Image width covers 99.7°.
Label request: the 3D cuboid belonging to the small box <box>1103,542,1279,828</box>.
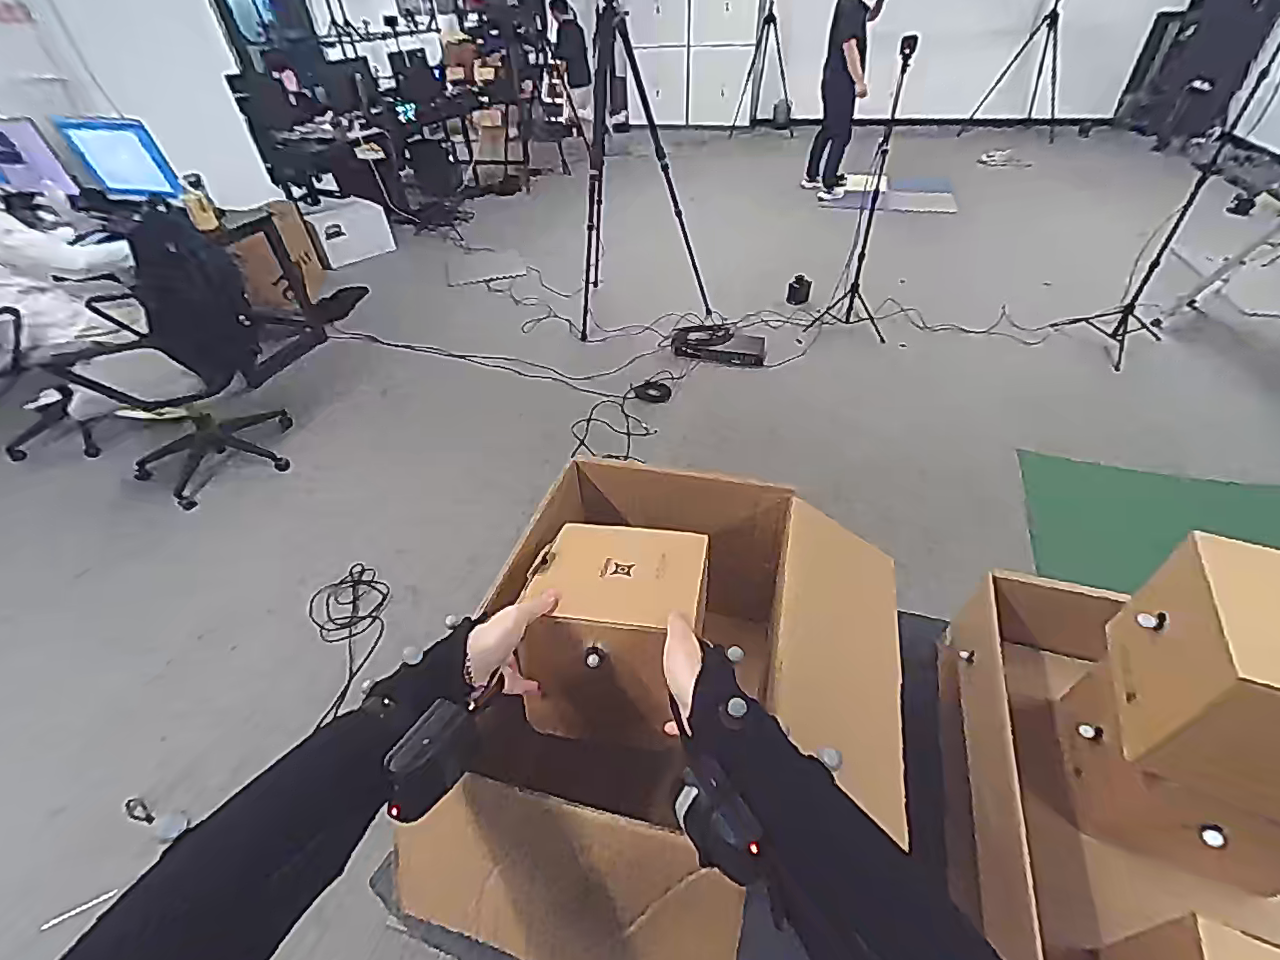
[{"bbox_3d":[0.565,0.191,0.494,0.179,0.176,0.168,17,47,20],"label":"small box"}]
